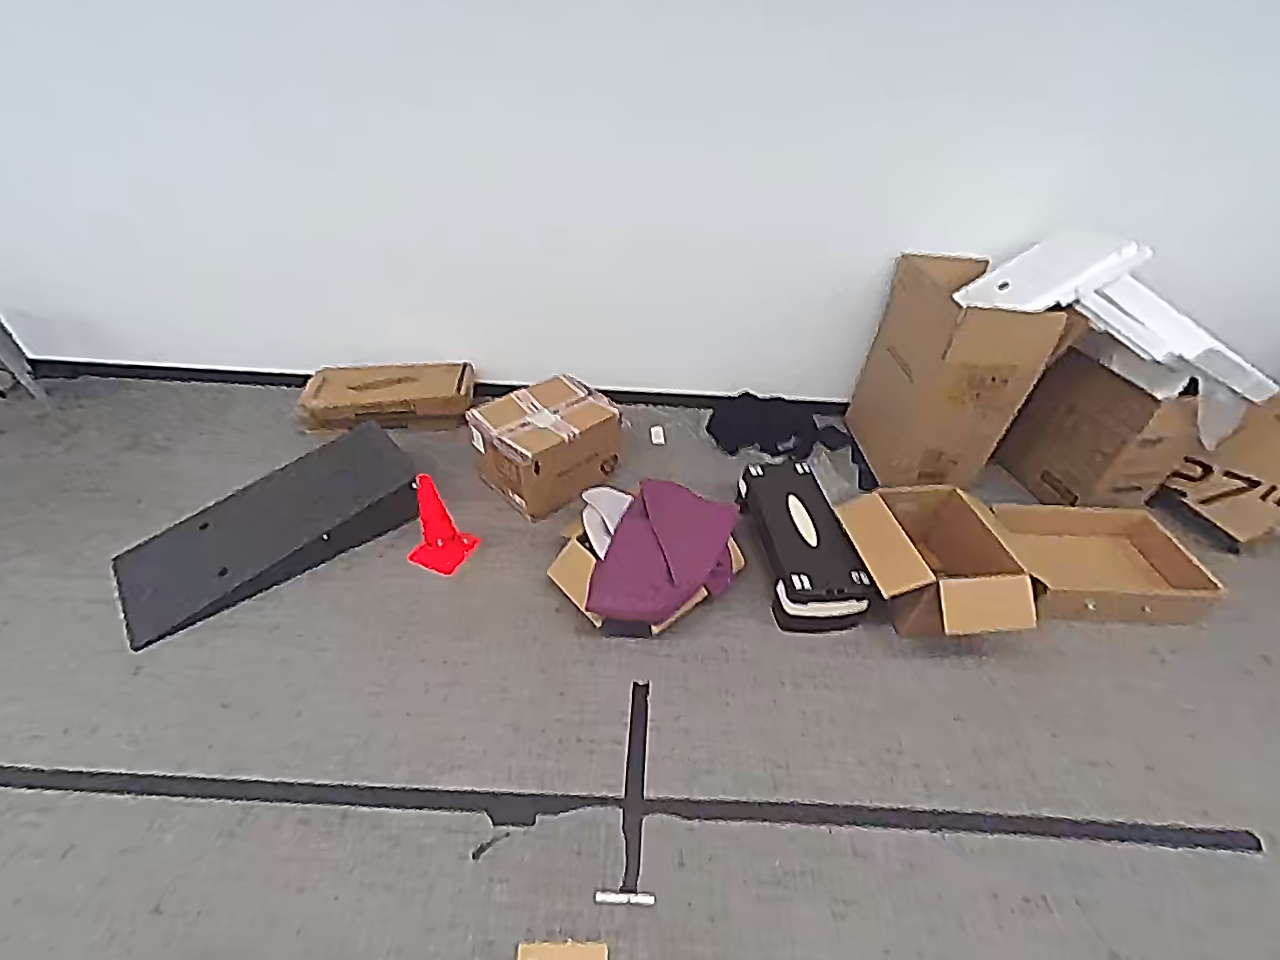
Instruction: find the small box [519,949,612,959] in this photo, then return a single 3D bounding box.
[{"bbox_3d":[-0.144,1.014,1.024,0.179,0.176,0.168,2,40,-2],"label":"small box"}]
